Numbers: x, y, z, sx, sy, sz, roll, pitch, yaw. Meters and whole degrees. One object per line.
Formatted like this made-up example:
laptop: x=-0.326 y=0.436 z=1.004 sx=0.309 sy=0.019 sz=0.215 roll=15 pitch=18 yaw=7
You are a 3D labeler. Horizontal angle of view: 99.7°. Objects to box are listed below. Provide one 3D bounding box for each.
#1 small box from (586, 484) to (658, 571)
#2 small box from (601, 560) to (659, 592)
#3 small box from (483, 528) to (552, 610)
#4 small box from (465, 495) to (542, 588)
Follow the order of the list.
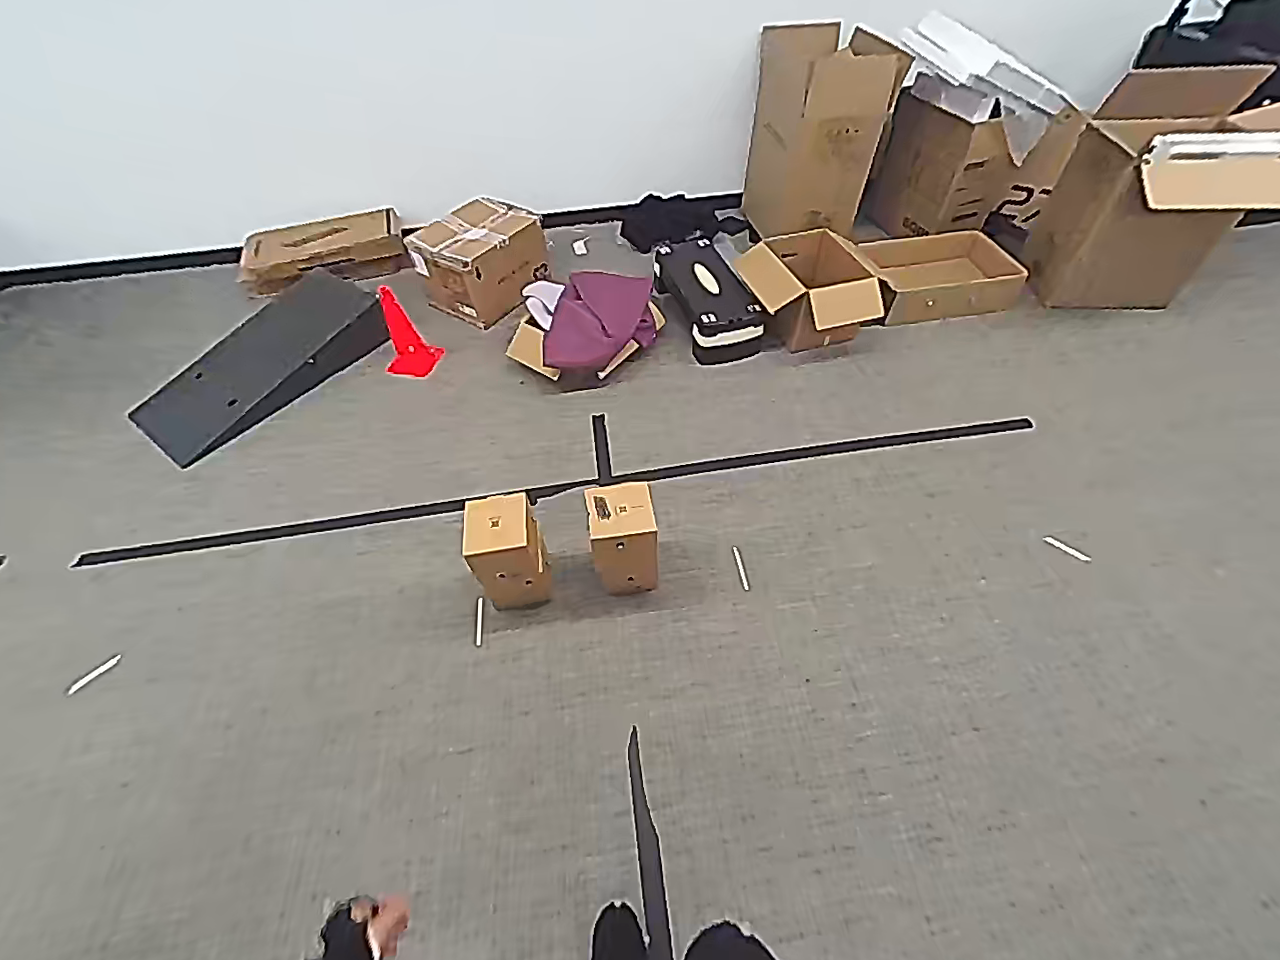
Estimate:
small box: x=-0.047 y=0.135 z=1.484 sx=0.179 sy=0.176 sz=0.168 roll=-8 pitch=52 yaw=-5
small box: x=-0.034 y=0.225 z=1.624 sx=0.168 sy=0.176 sz=0.179 roll=-7 pitch=52 yaw=-3
small box: x=-0.359 y=0.266 z=1.603 sx=0.179 sy=0.176 sz=0.168 roll=-10 pitch=51 yaw=-4
small box: x=-0.367 y=0.169 z=1.474 sx=0.168 sy=0.176 sz=0.179 roll=-10 pitch=53 yaw=-3
